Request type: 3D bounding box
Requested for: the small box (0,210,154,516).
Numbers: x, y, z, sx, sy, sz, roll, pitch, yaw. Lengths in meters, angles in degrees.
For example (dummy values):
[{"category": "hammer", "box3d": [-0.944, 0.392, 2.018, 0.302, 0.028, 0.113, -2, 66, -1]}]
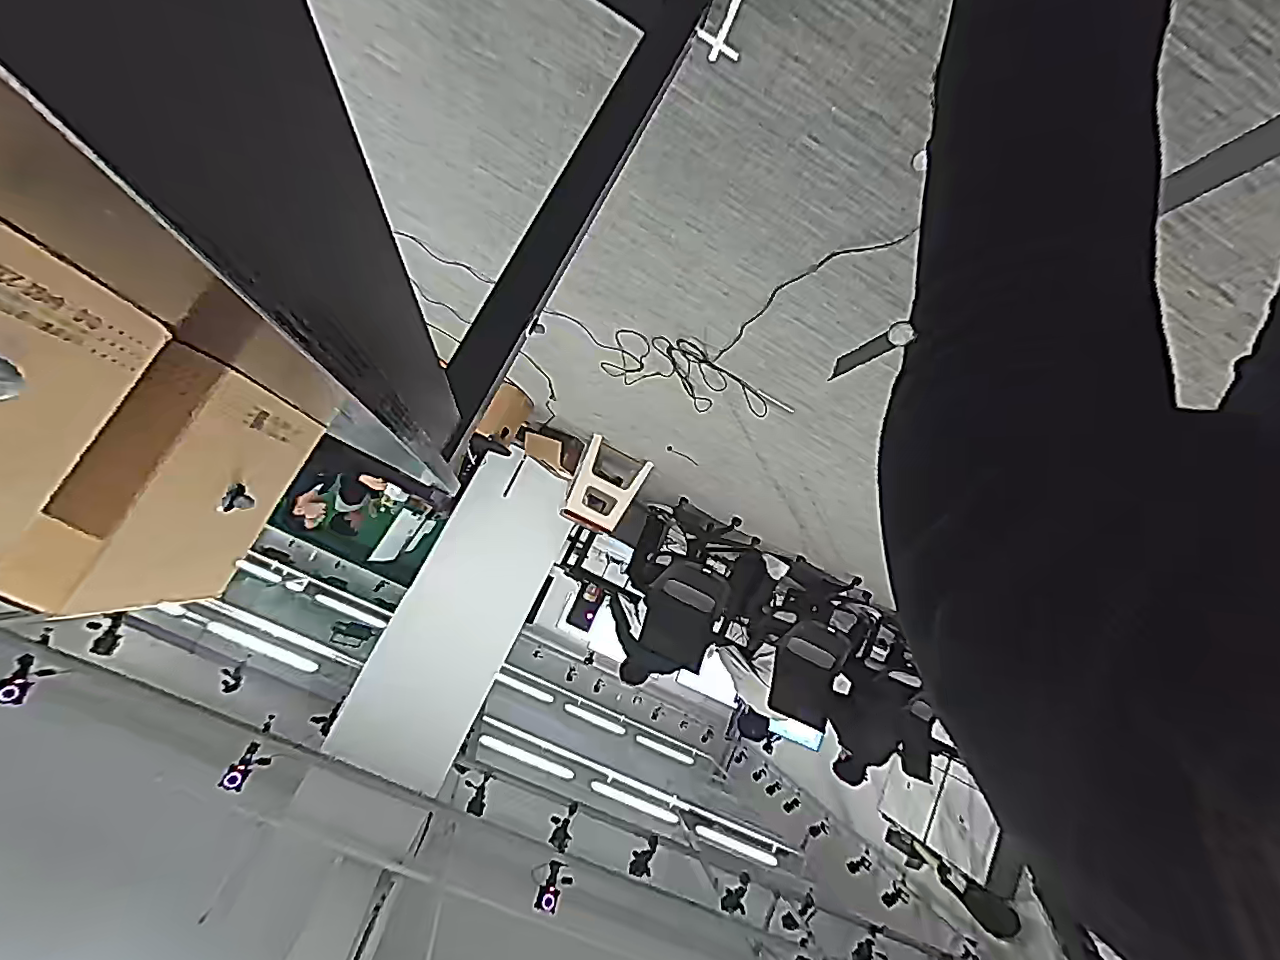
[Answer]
[{"category": "small box", "box3d": [-0.326, -0.055, 0.166, 0.179, 0.176, 0.168, 27, 169, -9]}]
